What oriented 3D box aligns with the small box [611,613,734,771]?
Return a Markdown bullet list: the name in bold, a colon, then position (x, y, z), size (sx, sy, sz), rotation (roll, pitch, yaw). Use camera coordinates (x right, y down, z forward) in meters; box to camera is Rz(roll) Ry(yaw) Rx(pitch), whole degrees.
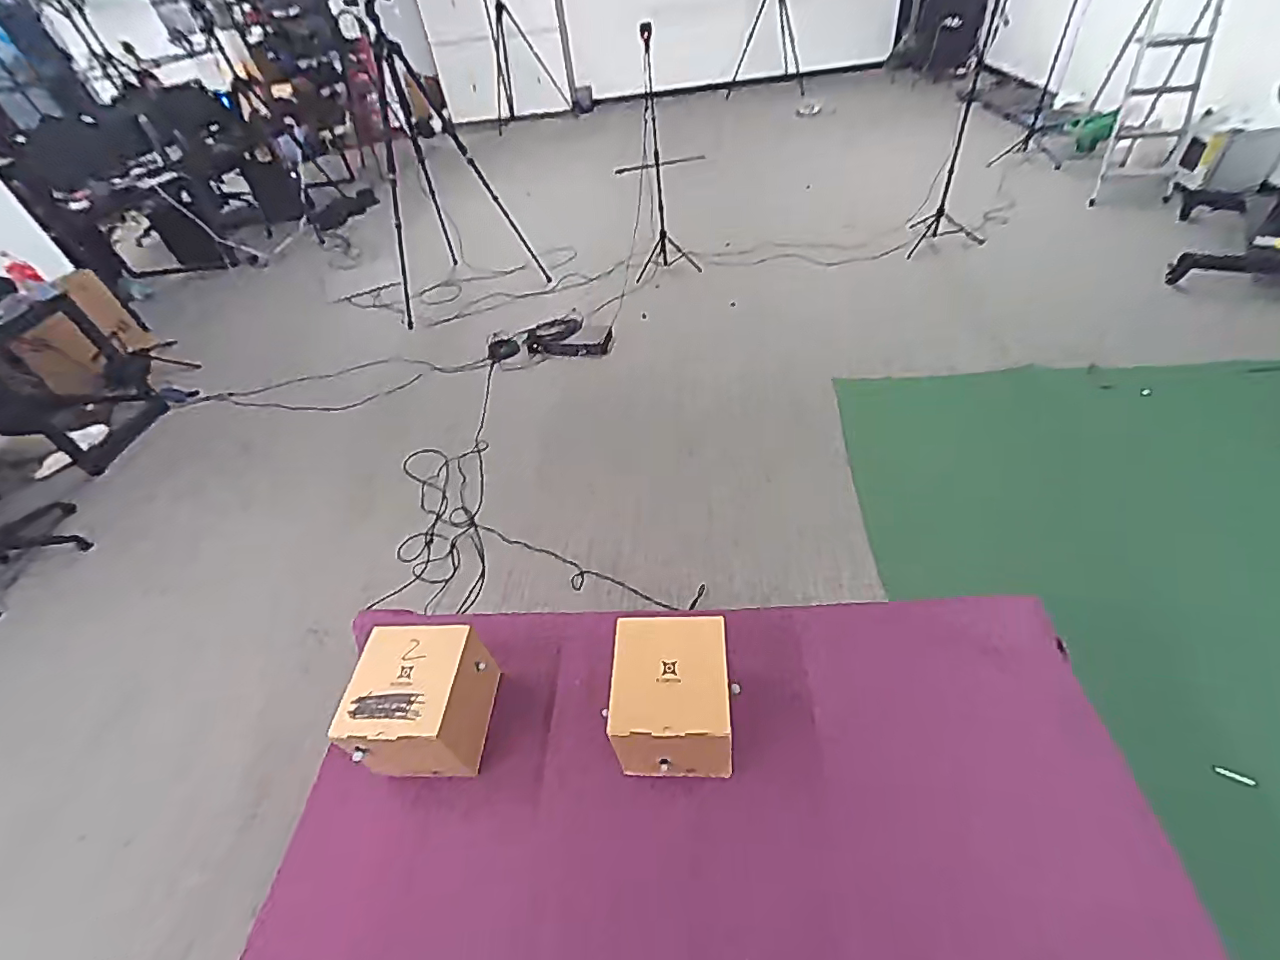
- **small box**: position (0.054, 0.322, 0.827), size (0.168, 0.176, 0.179), rotation (-2, 46, 6)
